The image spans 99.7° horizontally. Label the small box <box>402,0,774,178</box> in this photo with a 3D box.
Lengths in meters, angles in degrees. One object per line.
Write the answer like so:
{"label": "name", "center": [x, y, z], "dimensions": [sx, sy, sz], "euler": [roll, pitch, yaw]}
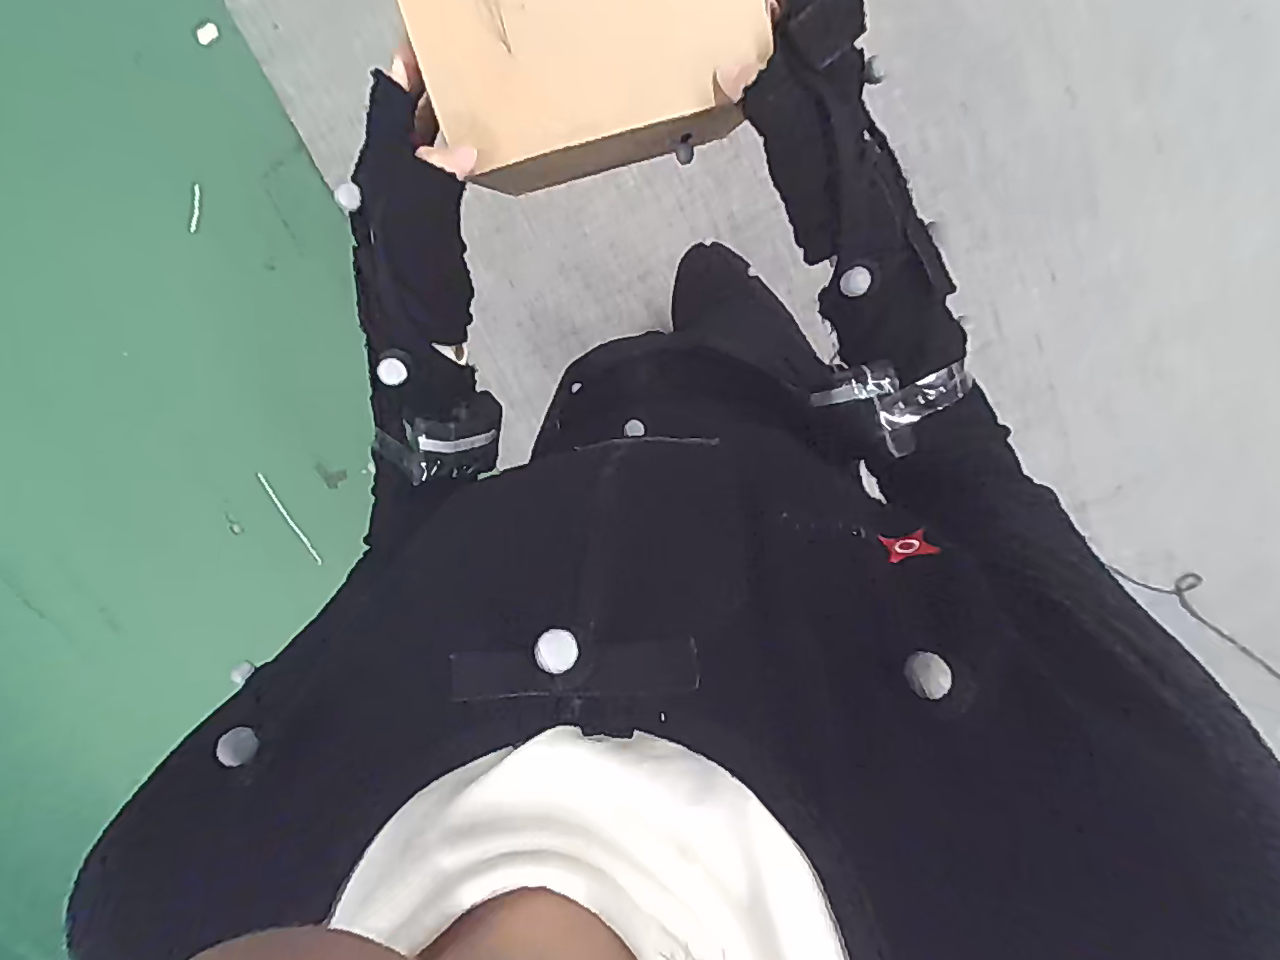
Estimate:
{"label": "small box", "center": [-0.035, -0.295, 0.321], "dimensions": [0.179, 0.176, 0.168], "euler": [-13, 114, 6]}
